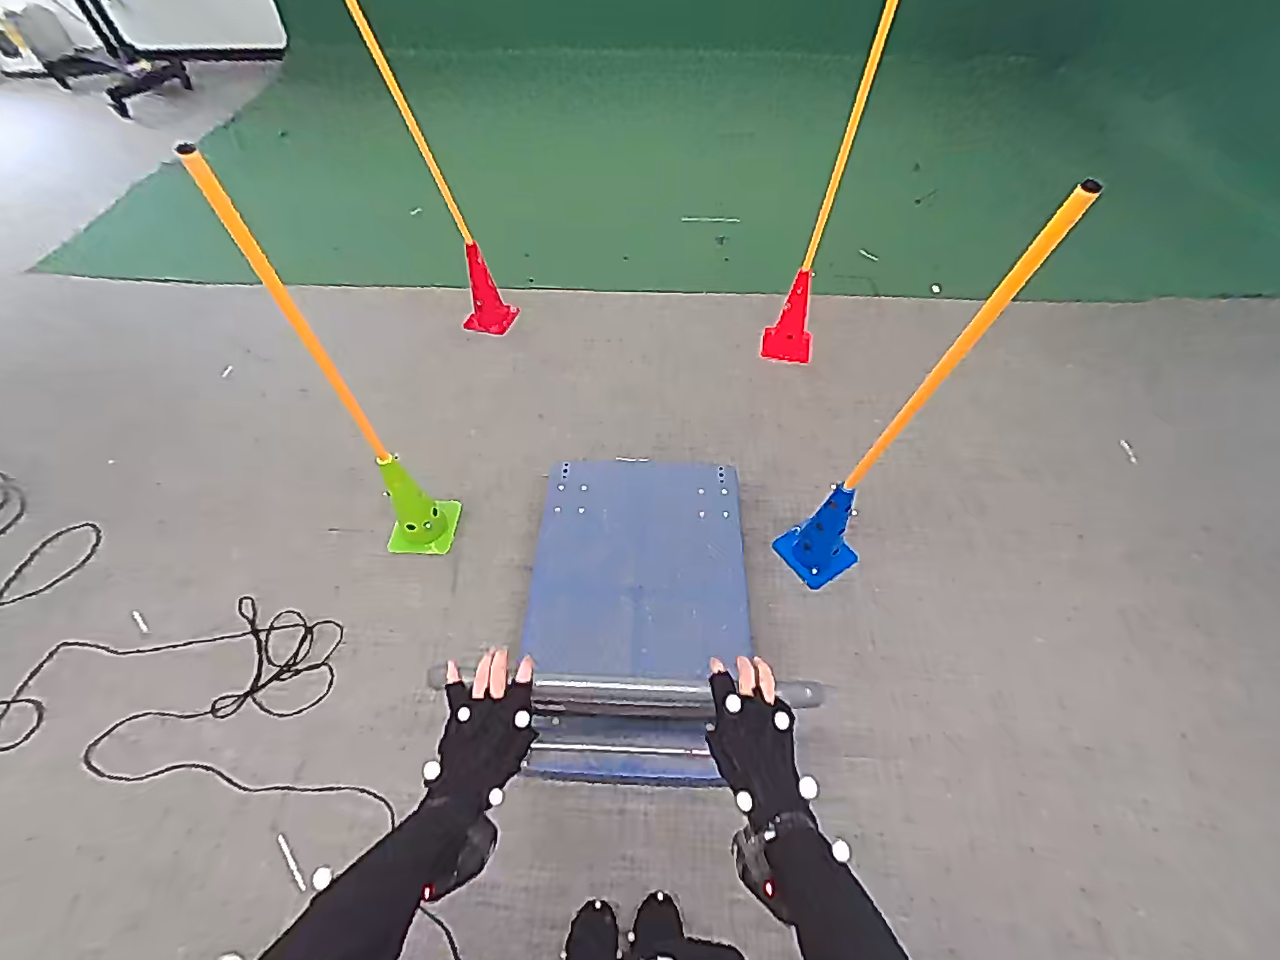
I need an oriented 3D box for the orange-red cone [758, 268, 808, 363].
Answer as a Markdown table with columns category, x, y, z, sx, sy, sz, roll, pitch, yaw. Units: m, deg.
| category | x | y | z | sx | sy | sz | roll | pitch | yaw |
| --- | --- | --- | --- | --- | --- | --- | --- | --- | --- |
| orange-red cone | 0.600 | -0.667 | 2.133 | 0.198 | 0.360 | 0.199 | 11 | 55 | 9 |
